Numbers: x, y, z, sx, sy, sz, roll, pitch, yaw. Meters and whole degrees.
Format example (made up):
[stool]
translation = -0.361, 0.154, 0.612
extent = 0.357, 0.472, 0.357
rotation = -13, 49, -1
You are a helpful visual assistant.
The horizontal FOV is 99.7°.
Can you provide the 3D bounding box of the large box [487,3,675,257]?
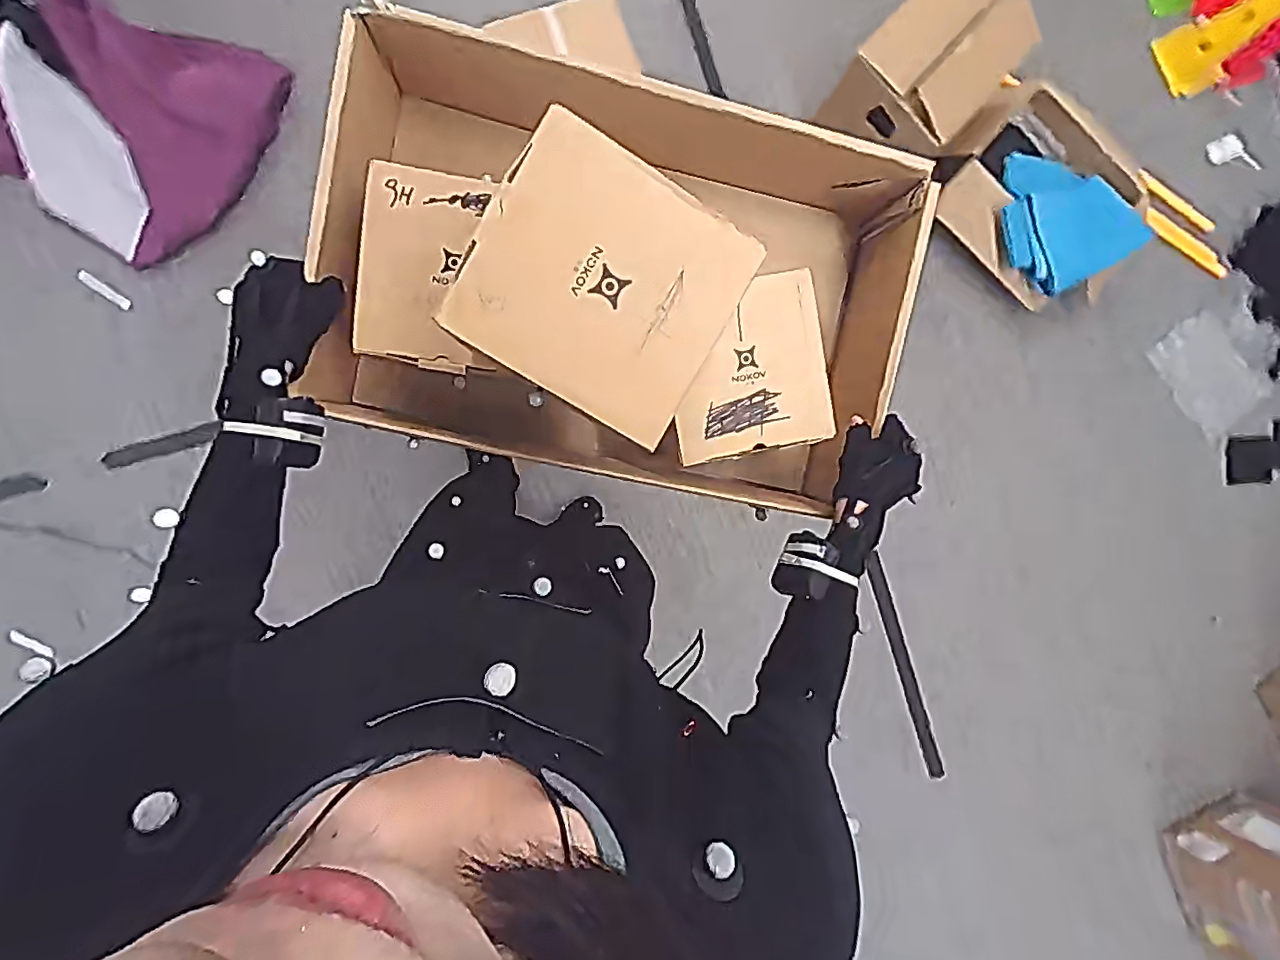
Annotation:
[large box]
translation = -0.151, -0.858, 1.373
extent = 0.320, 0.320, 0.408
rotation = -21, 93, -7
